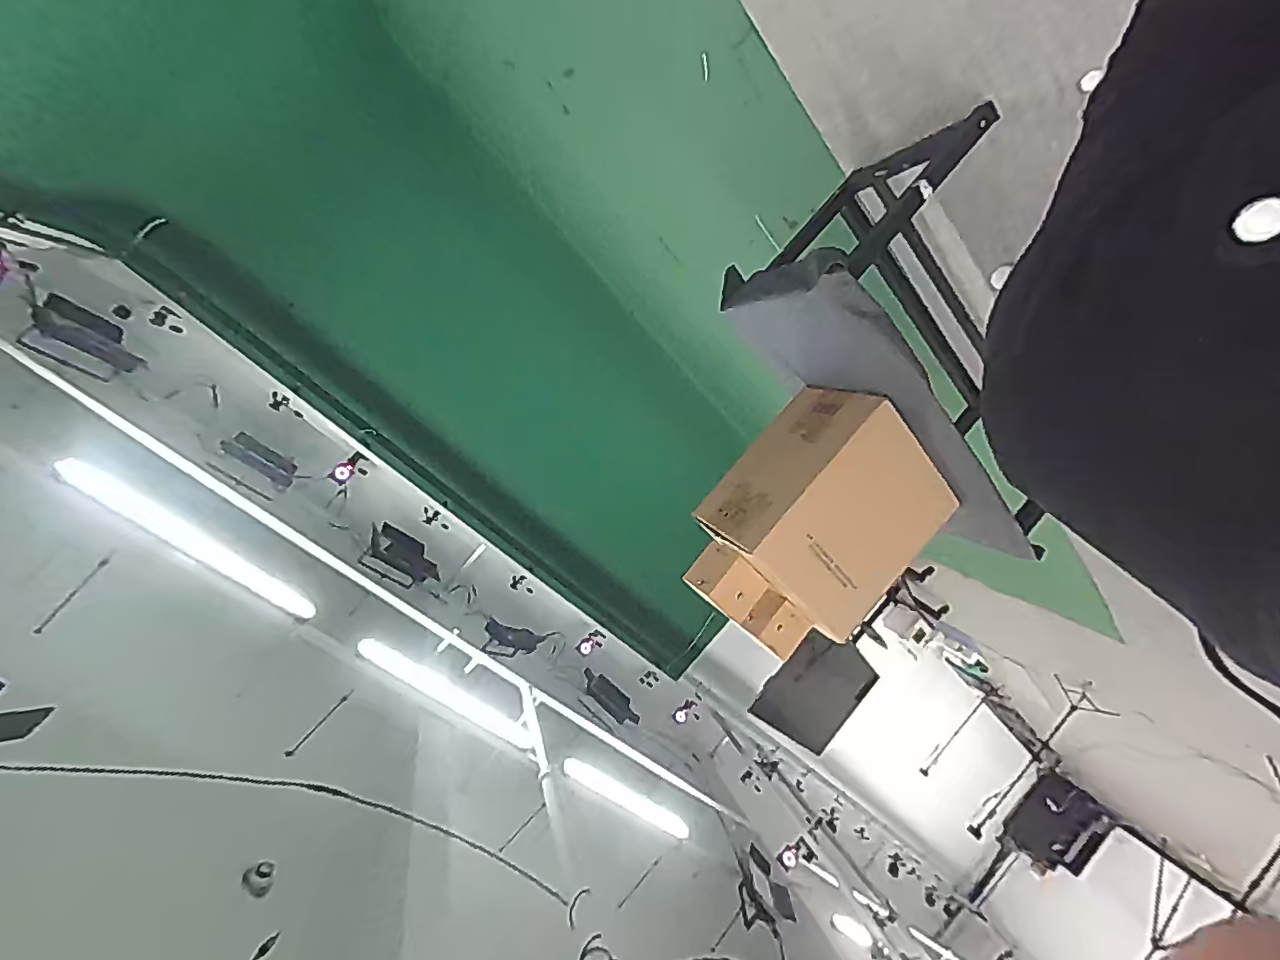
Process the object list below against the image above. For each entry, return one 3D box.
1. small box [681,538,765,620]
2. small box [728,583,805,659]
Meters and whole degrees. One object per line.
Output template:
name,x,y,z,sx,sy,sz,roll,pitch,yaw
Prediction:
small box,0.277,0.322,1.781,0.179,0.176,0.168,42,172,-25
small box,0.449,0.481,1.887,0.168,0.176,0.179,45,172,-24
